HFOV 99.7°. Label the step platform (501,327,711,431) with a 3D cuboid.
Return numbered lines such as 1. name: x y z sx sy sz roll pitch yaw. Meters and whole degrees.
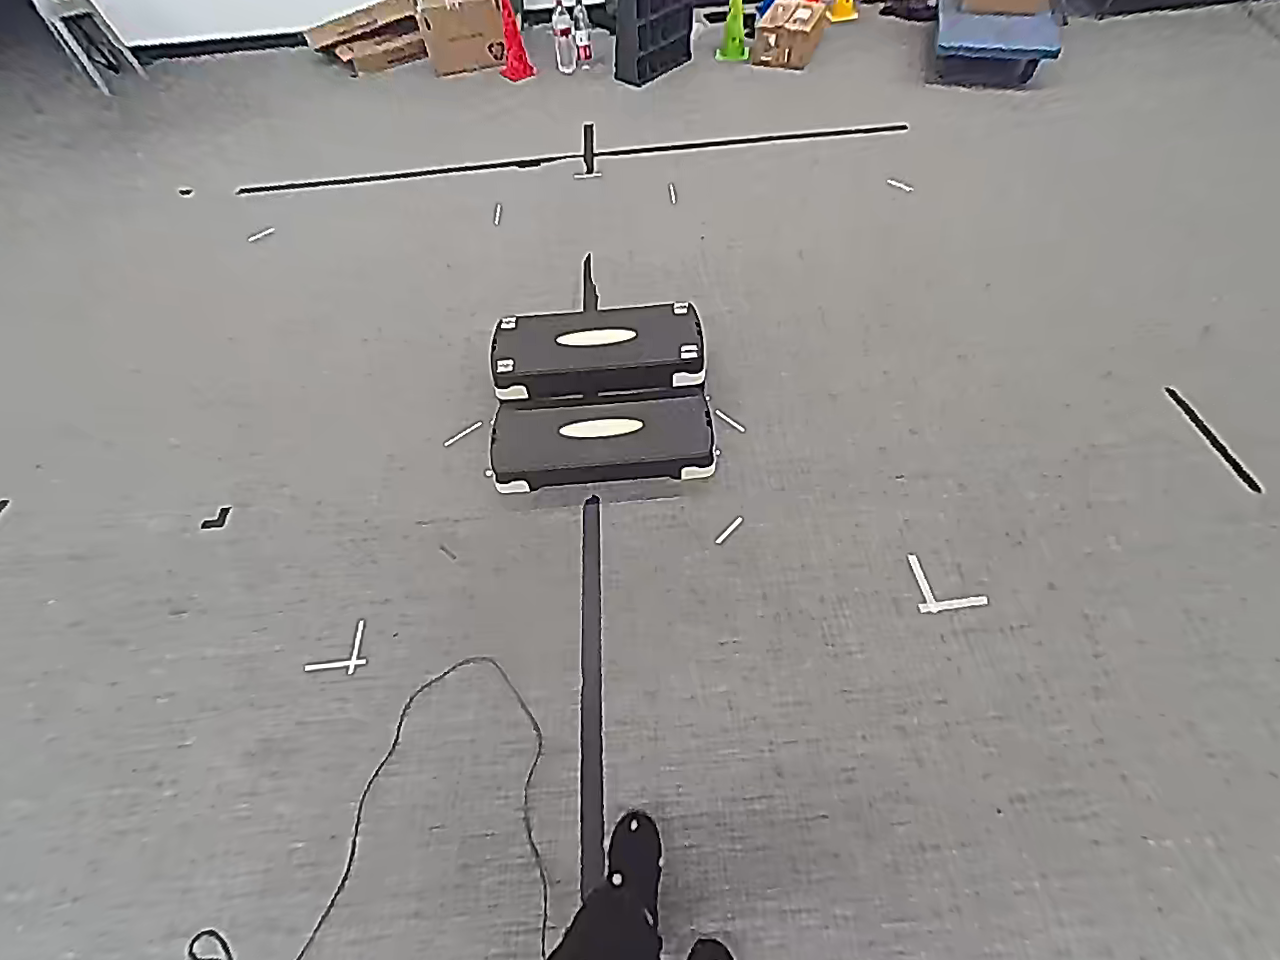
1. step platform: -0.107 -0.338 1.786 0.684 0.204 0.286 -1 55 2
